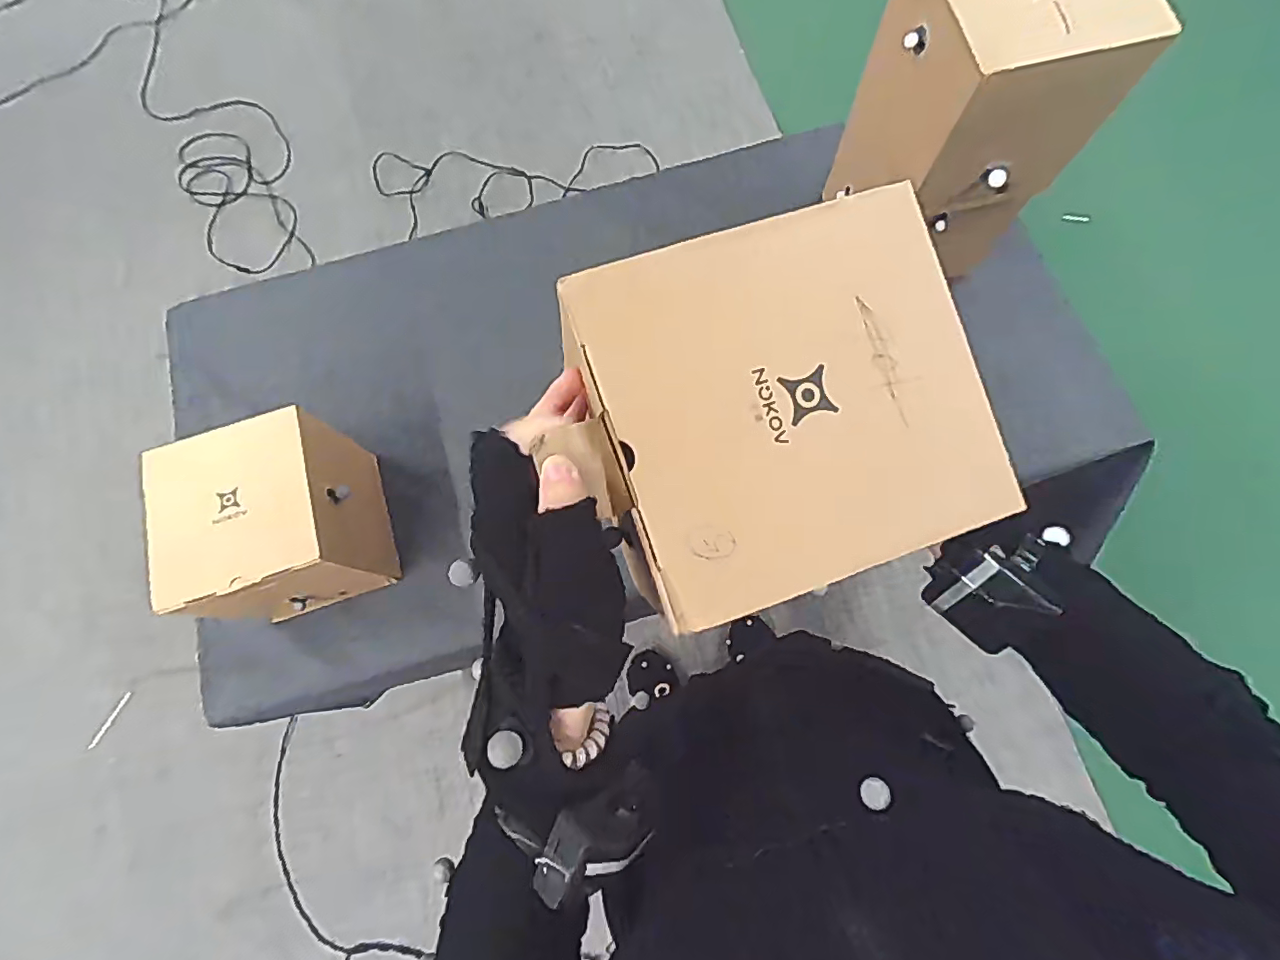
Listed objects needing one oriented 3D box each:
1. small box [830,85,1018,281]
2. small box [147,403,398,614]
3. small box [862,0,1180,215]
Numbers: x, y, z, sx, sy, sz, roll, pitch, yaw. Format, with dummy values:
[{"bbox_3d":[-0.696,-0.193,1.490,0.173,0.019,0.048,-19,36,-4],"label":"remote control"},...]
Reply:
[{"bbox_3d":[0.356,-0.376,0.695,0.179,0.176,0.168,-5,75,2],"label":"small box"},{"bbox_3d":[-0.404,0.043,0.617,0.168,0.176,0.179,-19,74,-3],"label":"small box"},{"bbox_3d":[0.343,-0.401,0.532,0.168,0.176,0.179,-11,75,1],"label":"small box"}]
